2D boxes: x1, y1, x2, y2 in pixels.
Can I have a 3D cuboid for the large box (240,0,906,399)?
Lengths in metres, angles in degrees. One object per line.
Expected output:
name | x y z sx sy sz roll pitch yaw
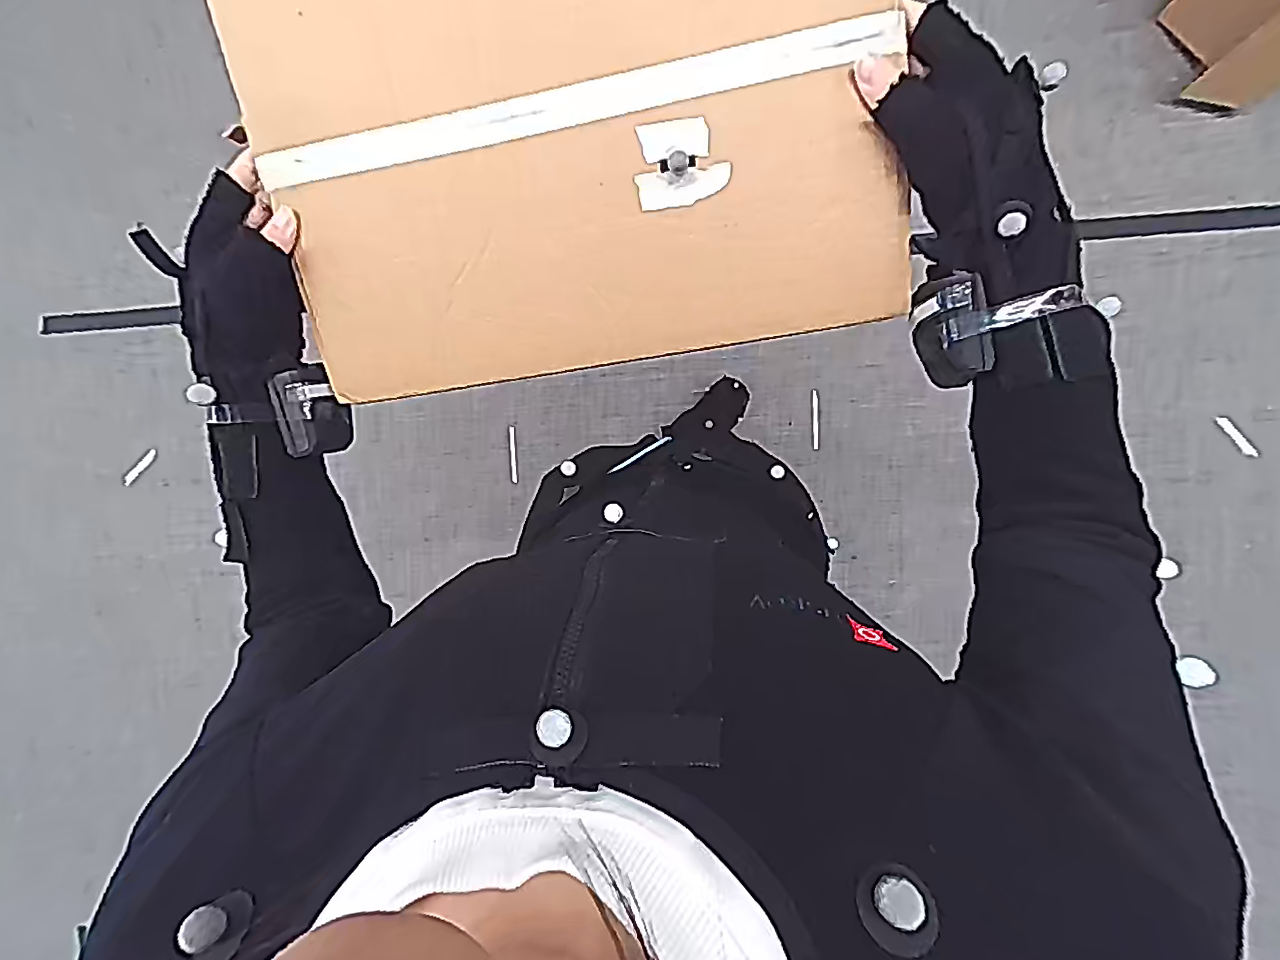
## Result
large box | -0.033 -0.277 0.490 0.408 0.320 0.320 -9 106 6
